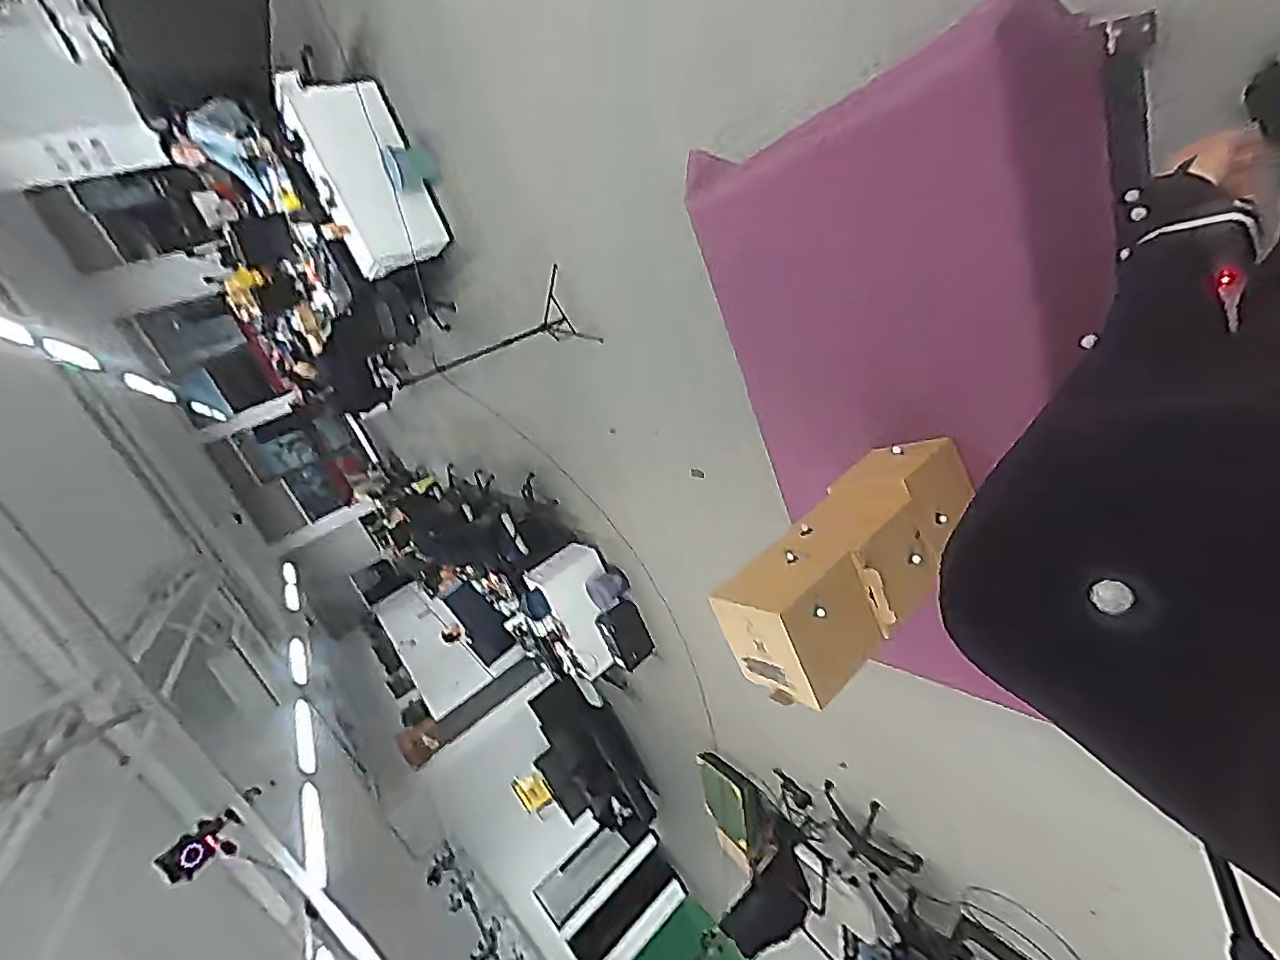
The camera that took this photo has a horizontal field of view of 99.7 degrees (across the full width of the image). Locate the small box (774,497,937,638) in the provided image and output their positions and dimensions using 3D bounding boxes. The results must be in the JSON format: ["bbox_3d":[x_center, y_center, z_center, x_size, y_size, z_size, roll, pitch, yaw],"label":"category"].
[{"bbox_3d":[0.373,0.140,0.938,0.179,0.176,0.168,-2,118,59],"label":"small box"}]

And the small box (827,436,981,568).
[{"bbox_3d":[0.491,0.042,1.002,0.168,0.176,0.179,-12,108,61],"label":"small box"}]
